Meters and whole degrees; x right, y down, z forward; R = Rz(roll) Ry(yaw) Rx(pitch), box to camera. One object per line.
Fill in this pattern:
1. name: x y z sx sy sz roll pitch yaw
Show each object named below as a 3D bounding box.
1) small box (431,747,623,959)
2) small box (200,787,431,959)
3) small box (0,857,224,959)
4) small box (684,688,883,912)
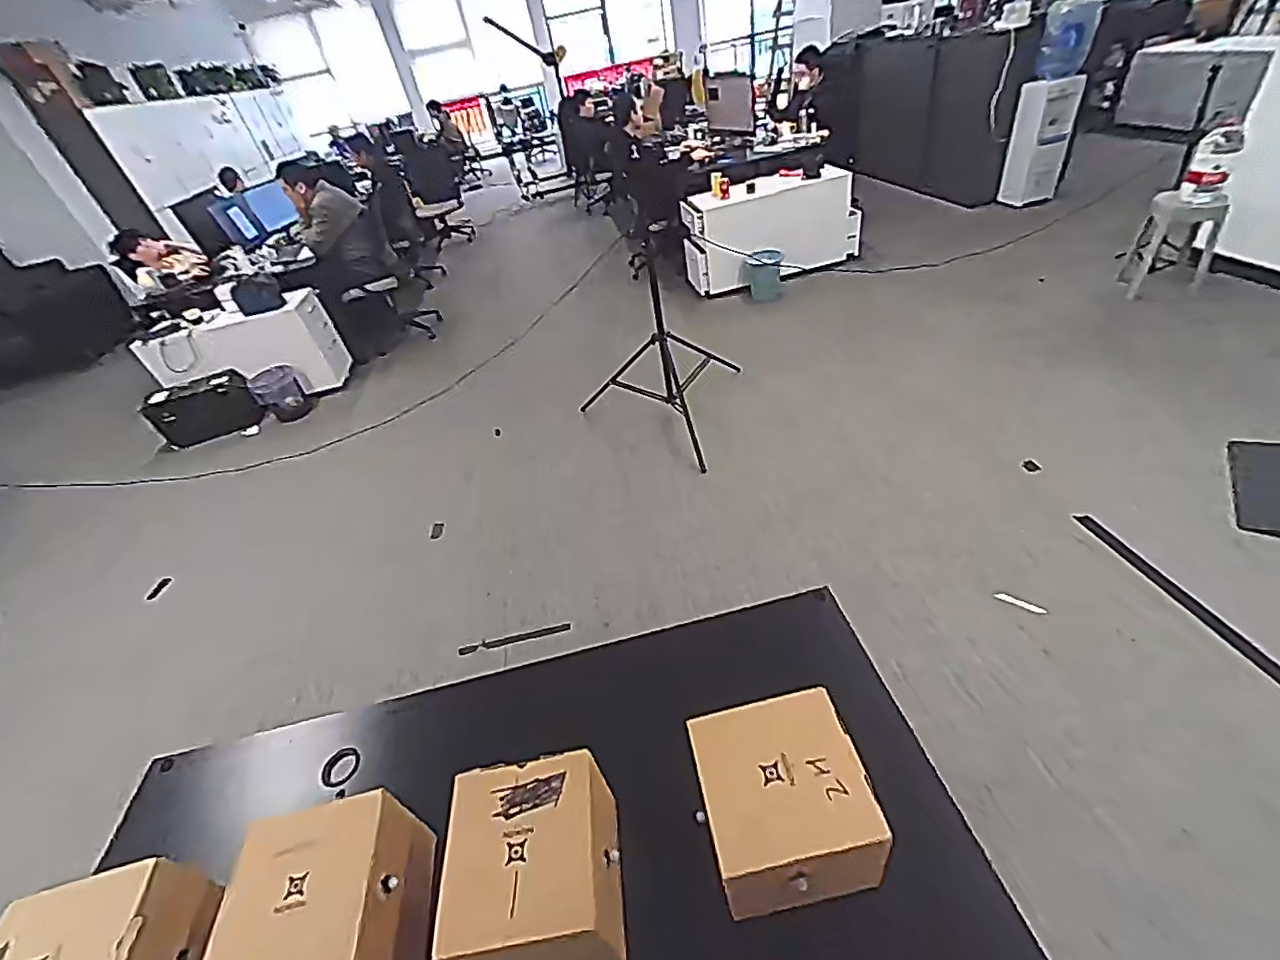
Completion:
1. small box: -0.120 0.452 0.637 0.168 0.176 0.179 -12 39 1
2. small box: -0.364 0.506 0.639 0.168 0.176 0.179 -14 38 -3
3. small box: -0.617 0.573 0.619 0.179 0.176 0.168 -15 39 -4
4. small box: 0.163 0.383 0.646 0.179 0.176 0.168 -13 39 -1
